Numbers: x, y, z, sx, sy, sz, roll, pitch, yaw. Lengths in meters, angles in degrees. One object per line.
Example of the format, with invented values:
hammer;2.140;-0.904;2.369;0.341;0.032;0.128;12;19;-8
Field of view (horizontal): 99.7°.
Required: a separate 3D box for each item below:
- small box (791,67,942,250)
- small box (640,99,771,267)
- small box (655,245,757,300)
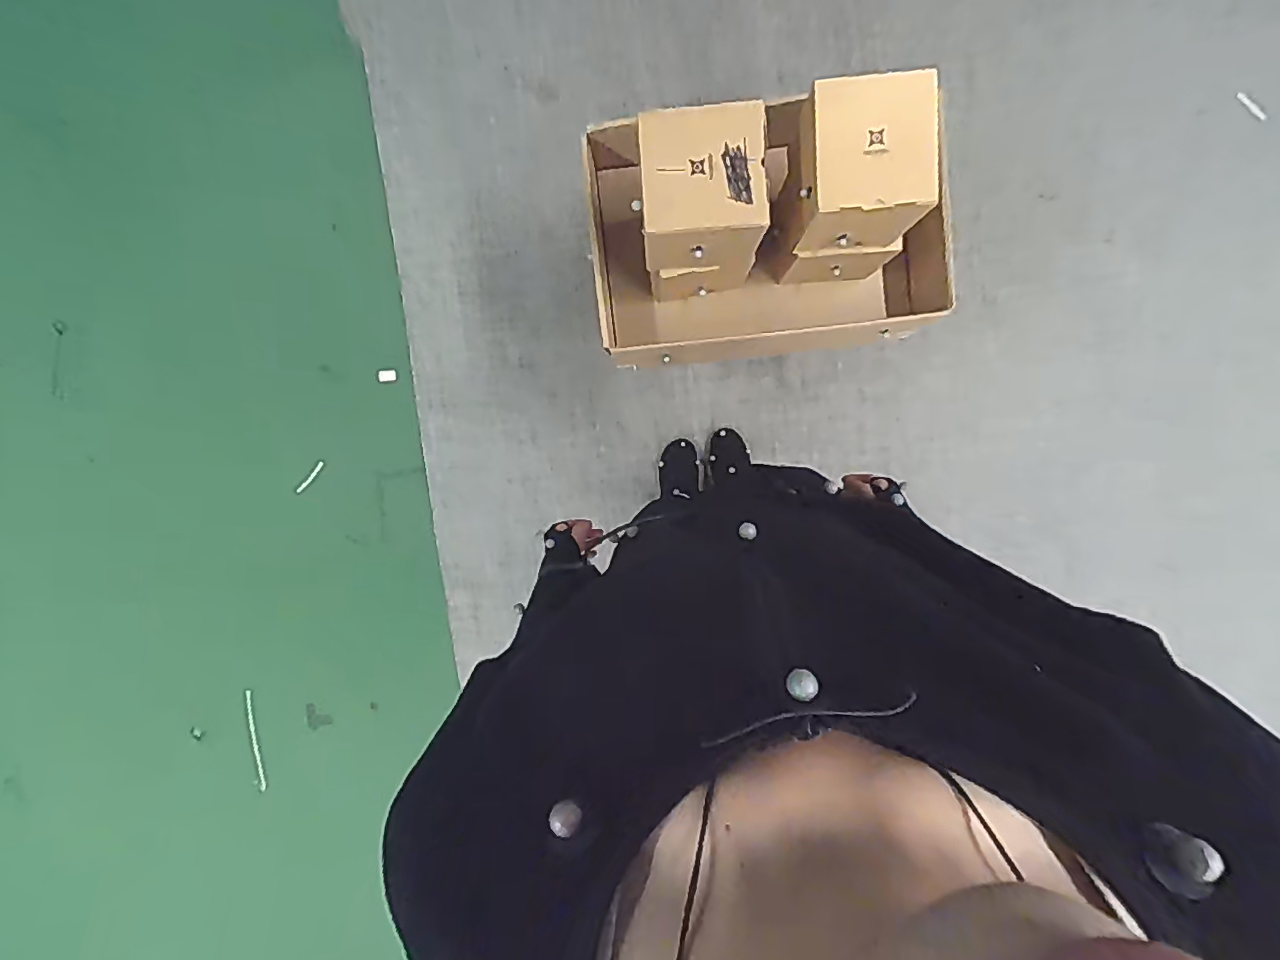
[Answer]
small box;0.326;-0.466;0.808;0.168;0.176;0.179;-3;94;3
small box;0.092;-0.435;0.817;0.179;0.176;0.168;-3;93;3
small box;0.104;-0.447;0.980;0.168;0.176;0.179;-10;94;3
